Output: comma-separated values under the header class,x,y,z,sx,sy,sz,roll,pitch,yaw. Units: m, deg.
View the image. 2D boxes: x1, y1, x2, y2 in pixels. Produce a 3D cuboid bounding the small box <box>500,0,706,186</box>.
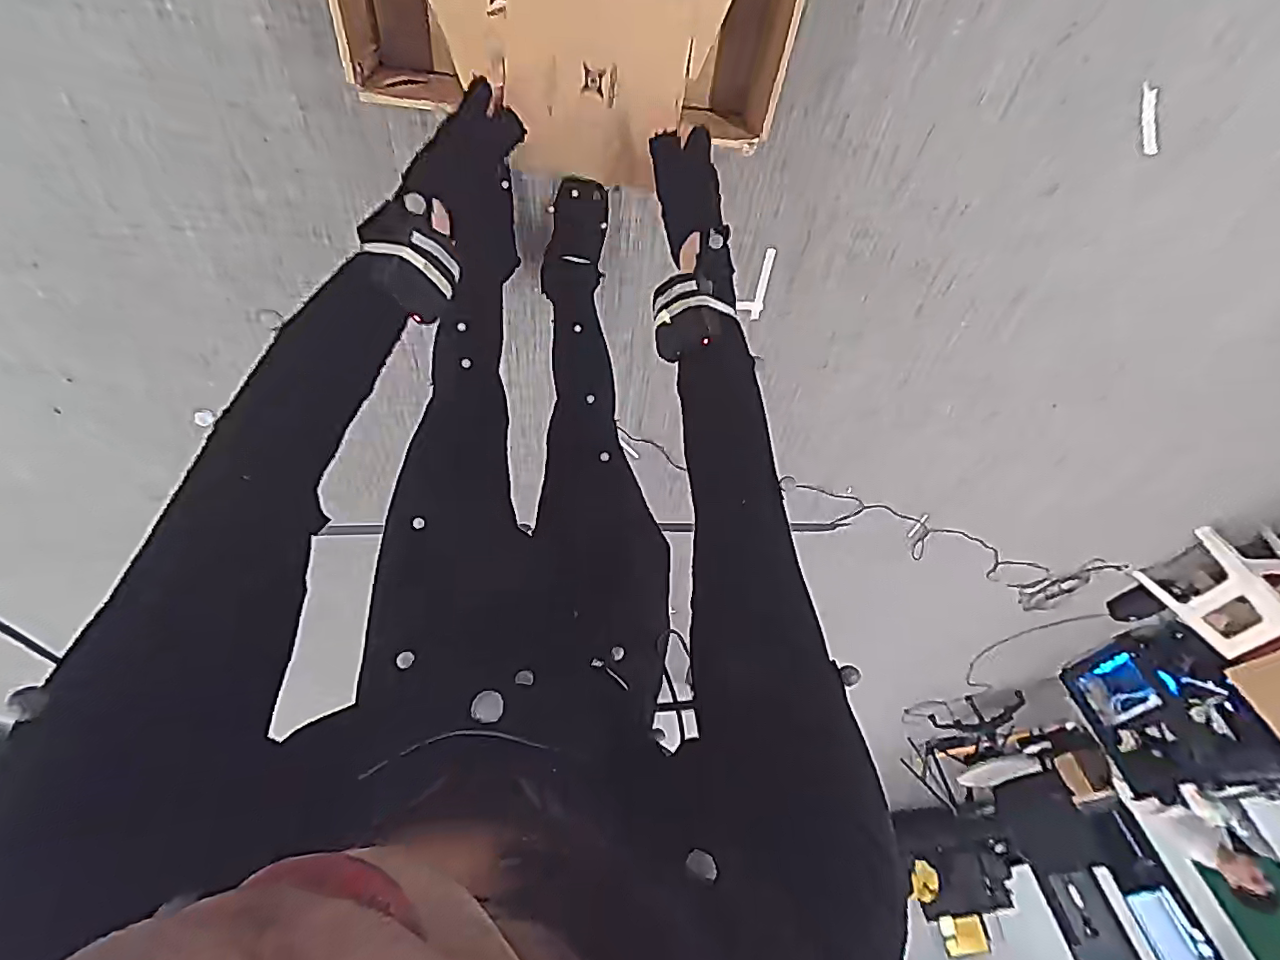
class,x,y,z,sx,sy,sz,roll,pitch,yaw
small box,-0.052,-0.422,0.569,0.179,0.176,0.168,4,120,-14
